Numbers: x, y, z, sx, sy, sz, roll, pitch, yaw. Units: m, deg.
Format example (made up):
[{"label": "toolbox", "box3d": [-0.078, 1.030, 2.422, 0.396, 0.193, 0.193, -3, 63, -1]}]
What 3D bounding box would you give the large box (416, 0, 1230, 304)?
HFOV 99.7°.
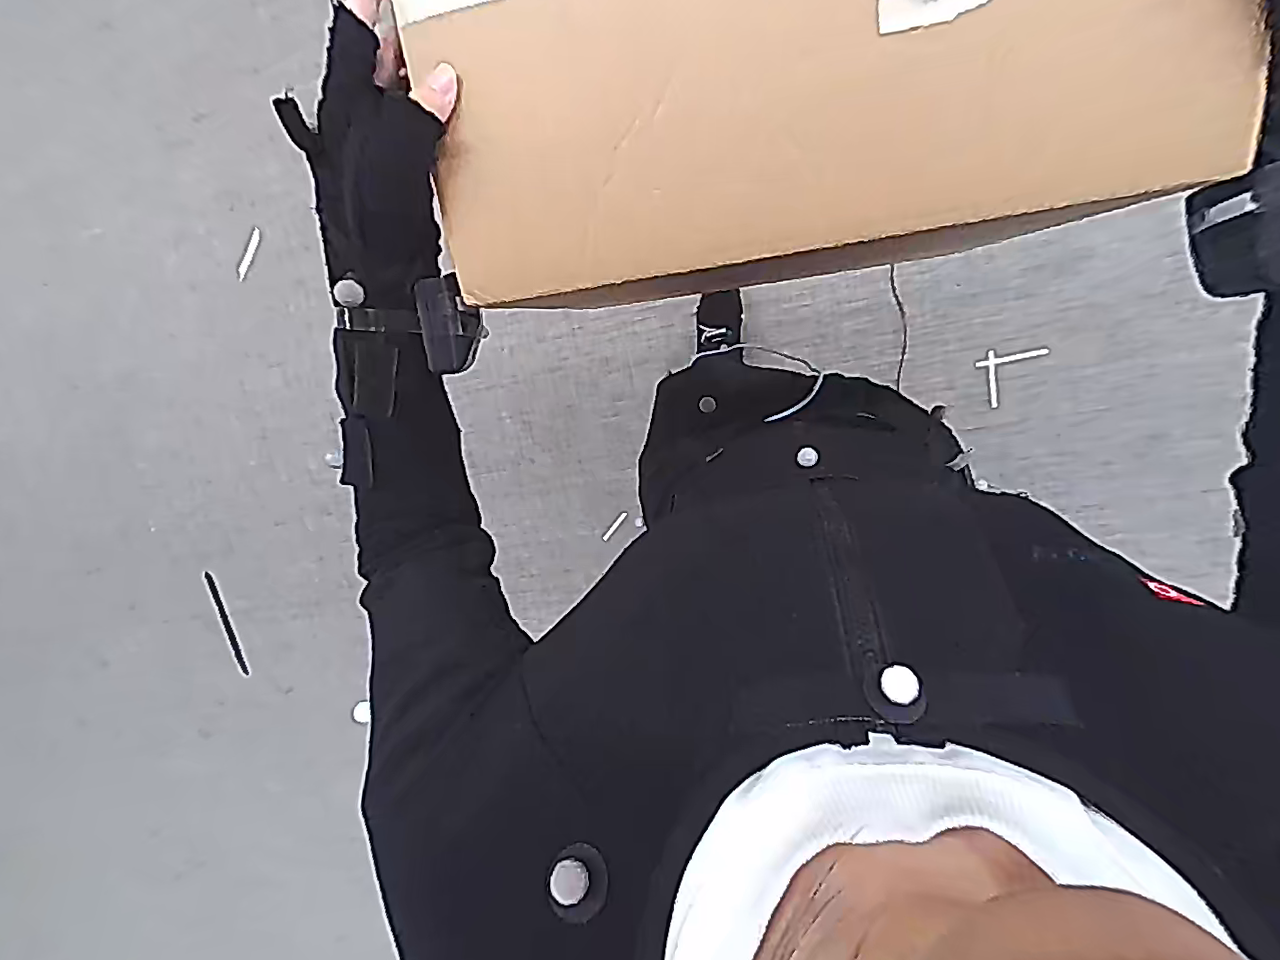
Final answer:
[{"label": "large box", "box3d": [0.088, -0.327, 0.407, 0.408, 0.320, 0.320, -6, 106, 10]}]
